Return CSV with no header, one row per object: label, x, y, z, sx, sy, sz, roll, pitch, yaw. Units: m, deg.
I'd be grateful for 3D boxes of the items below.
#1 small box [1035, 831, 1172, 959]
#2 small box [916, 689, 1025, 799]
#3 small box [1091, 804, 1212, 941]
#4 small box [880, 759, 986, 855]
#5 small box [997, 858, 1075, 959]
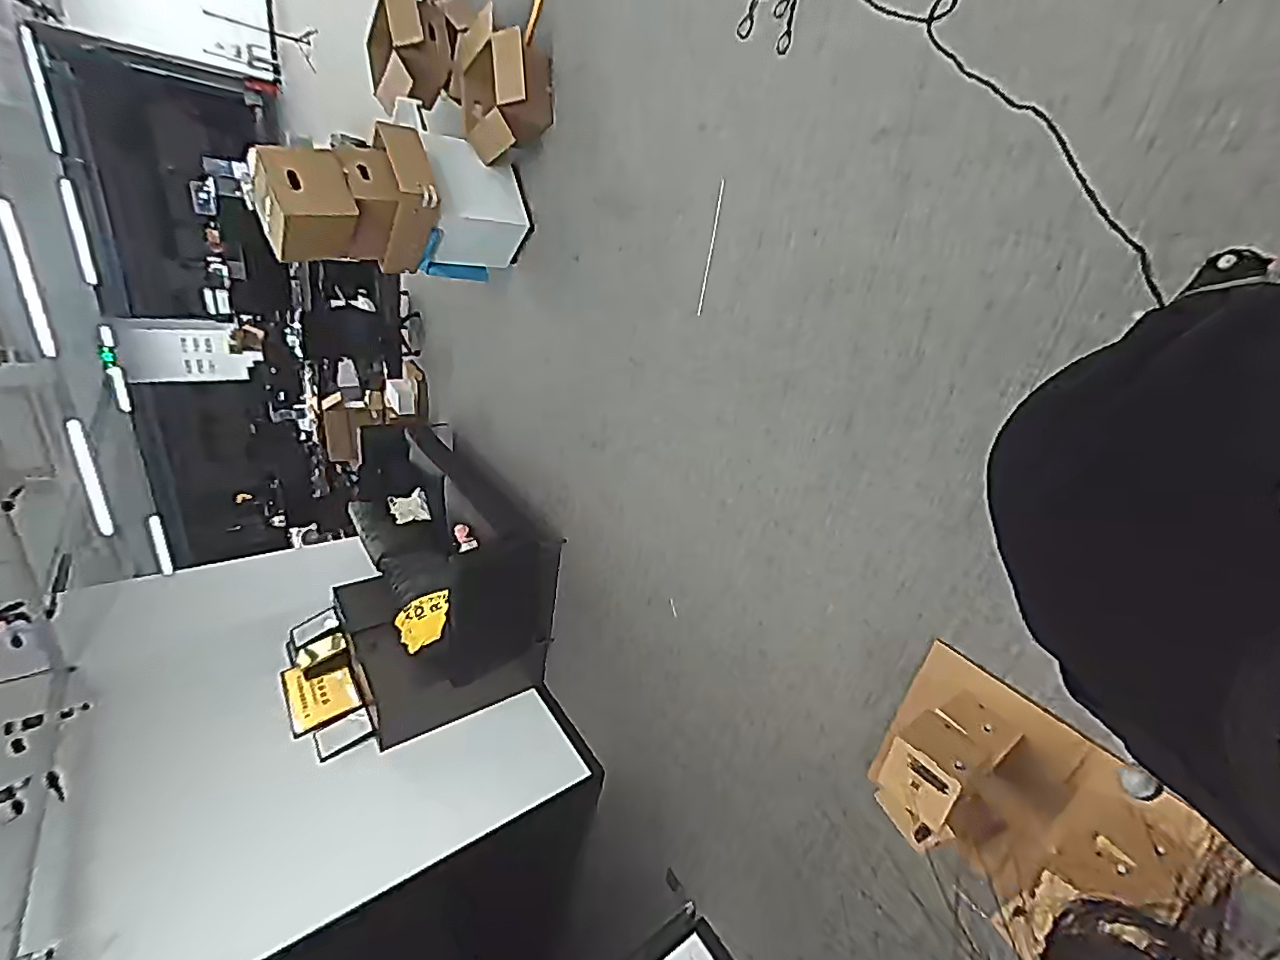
small box,0.962,0.891,1.122,0.168,0.176,0.179,21,115,49
small box,0.889,0.699,1.449,0.168,0.176,0.179,41,130,41
small box,1.107,0.866,1.199,0.168,0.176,0.179,44,131,41
small box,0.847,0.926,1.559,0.179,0.176,0.168,53,137,34
small box,1.045,1.097,1.340,0.179,0.176,0.168,43,131,39
